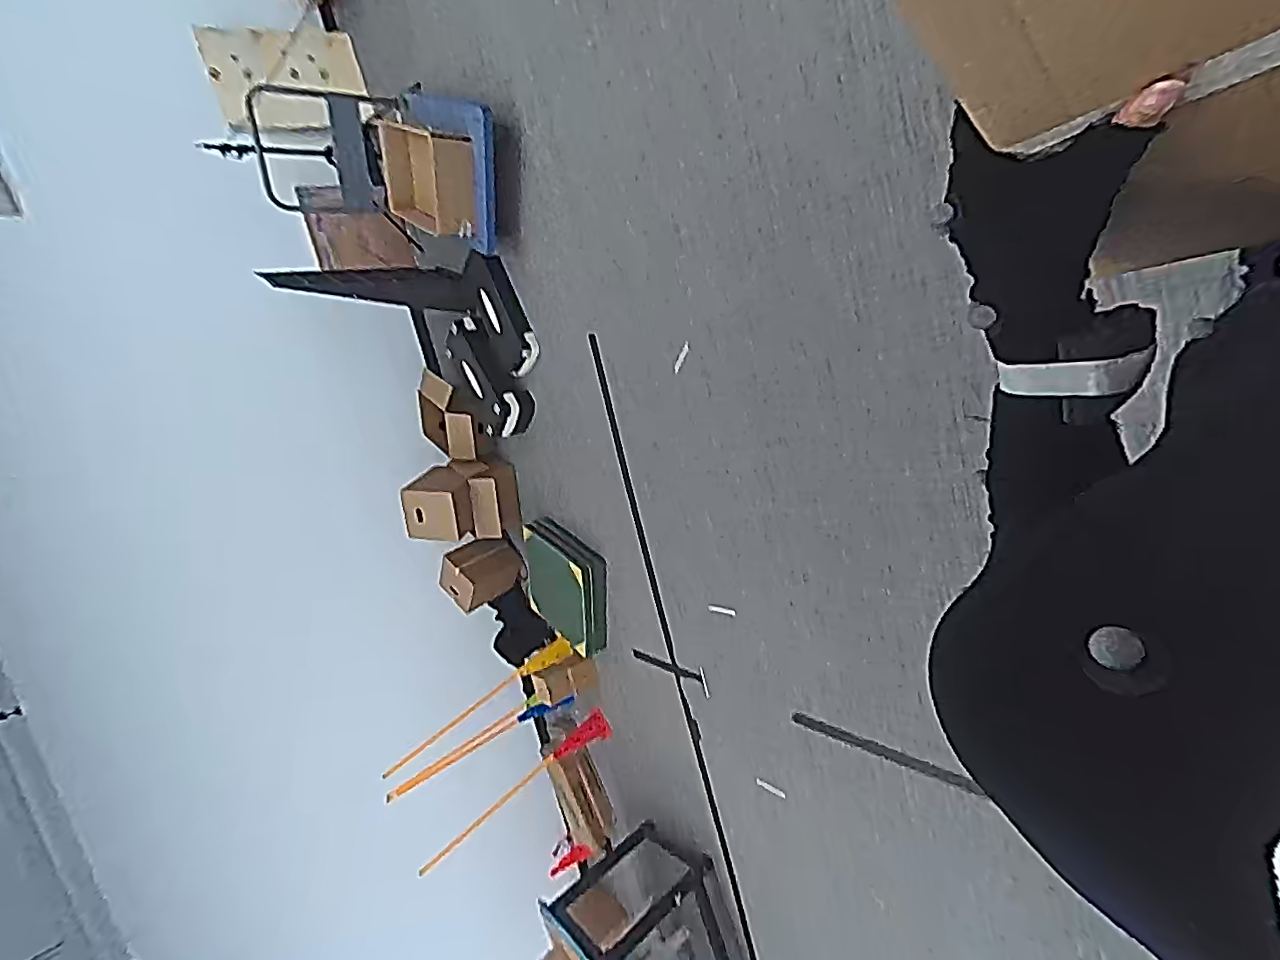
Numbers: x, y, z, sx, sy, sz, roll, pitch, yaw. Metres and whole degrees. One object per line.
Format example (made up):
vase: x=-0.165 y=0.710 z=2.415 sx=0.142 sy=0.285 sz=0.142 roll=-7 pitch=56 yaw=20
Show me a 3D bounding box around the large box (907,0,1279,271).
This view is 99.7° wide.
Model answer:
large box: x=0.360 y=-0.336 z=0.178 sx=0.408 sy=0.320 sz=0.320 roll=1 pitch=77 yaw=54
